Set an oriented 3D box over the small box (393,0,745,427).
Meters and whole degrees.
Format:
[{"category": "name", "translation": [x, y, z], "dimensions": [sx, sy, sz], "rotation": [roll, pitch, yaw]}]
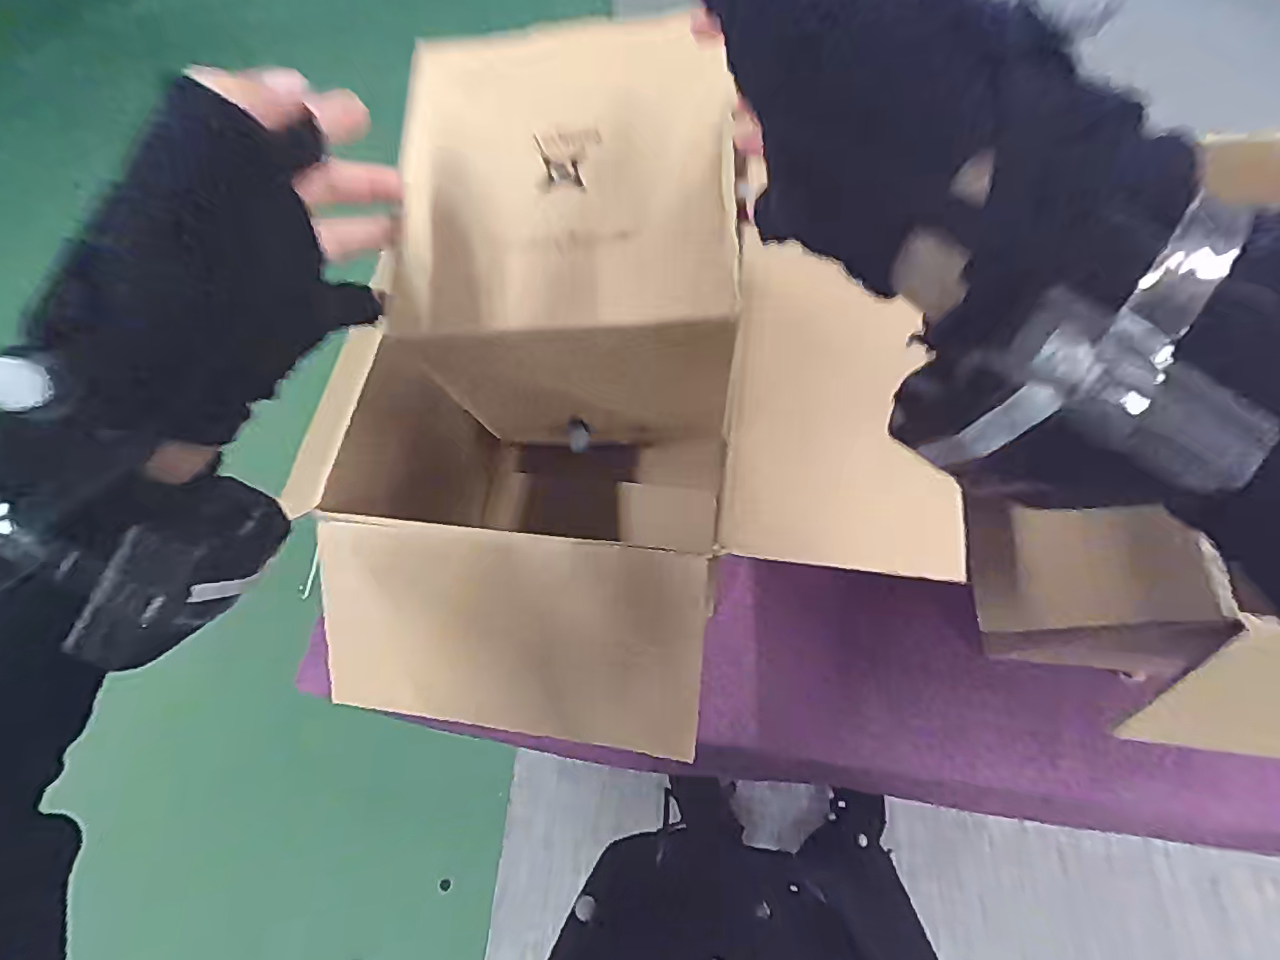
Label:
[{"category": "small box", "translation": [-0.025, -0.143, 0.341], "dimensions": [0.168, 0.176, 0.179], "rotation": [-1, 78, 6]}]
